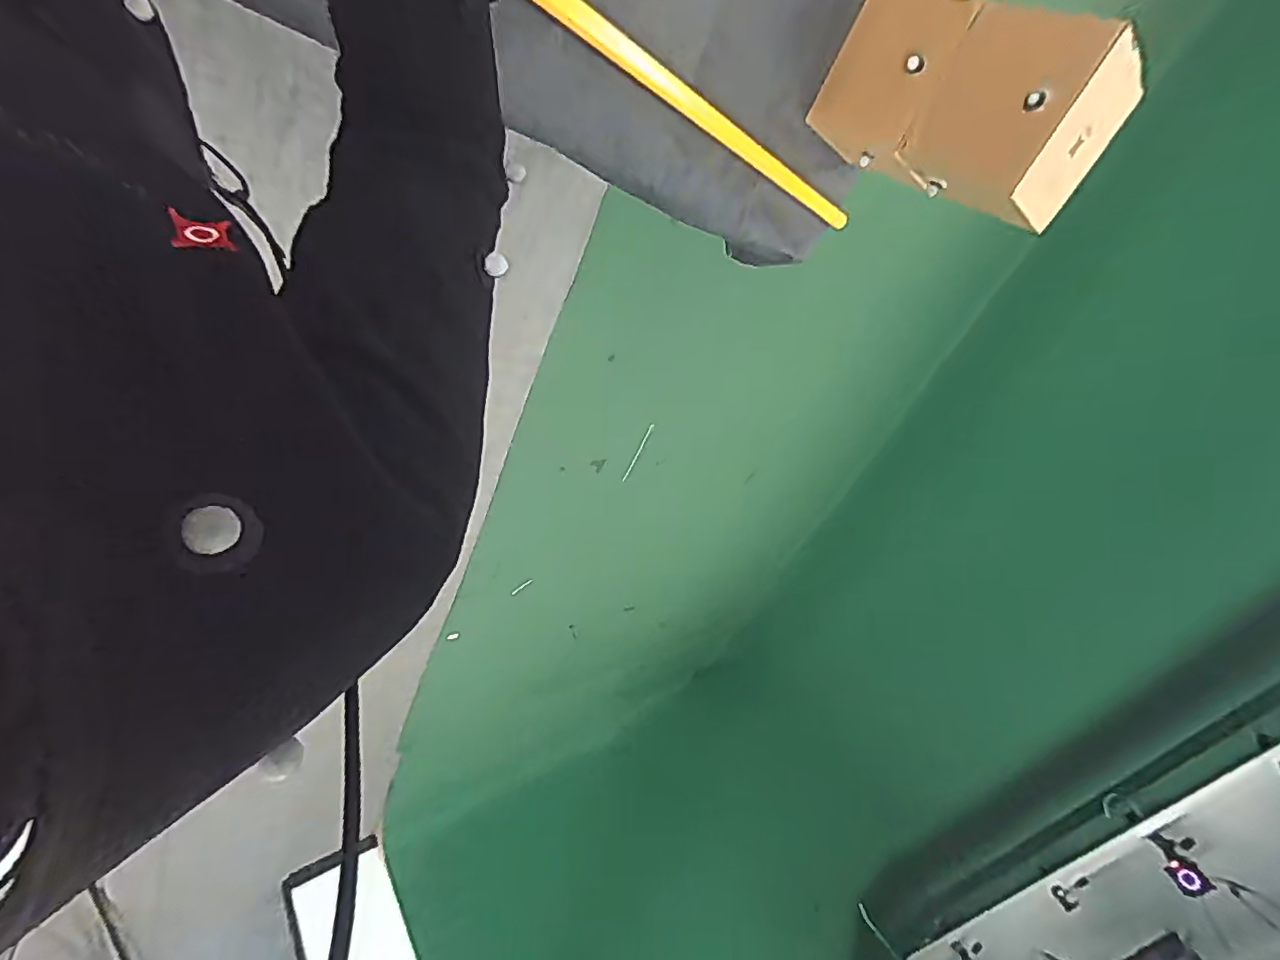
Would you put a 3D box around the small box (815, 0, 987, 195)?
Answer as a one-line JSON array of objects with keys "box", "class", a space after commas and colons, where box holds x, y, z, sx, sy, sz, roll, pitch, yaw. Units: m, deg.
[{"box": [0.381, -0.552, 0.780, 0.168, 0.176, 0.179, -2, 128, -45], "class": "small box"}]

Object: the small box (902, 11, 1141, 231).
[{"box": [0.479, -0.455, 0.693, 0.168, 0.176, 0.179, -3, 130, -43], "class": "small box"}]
